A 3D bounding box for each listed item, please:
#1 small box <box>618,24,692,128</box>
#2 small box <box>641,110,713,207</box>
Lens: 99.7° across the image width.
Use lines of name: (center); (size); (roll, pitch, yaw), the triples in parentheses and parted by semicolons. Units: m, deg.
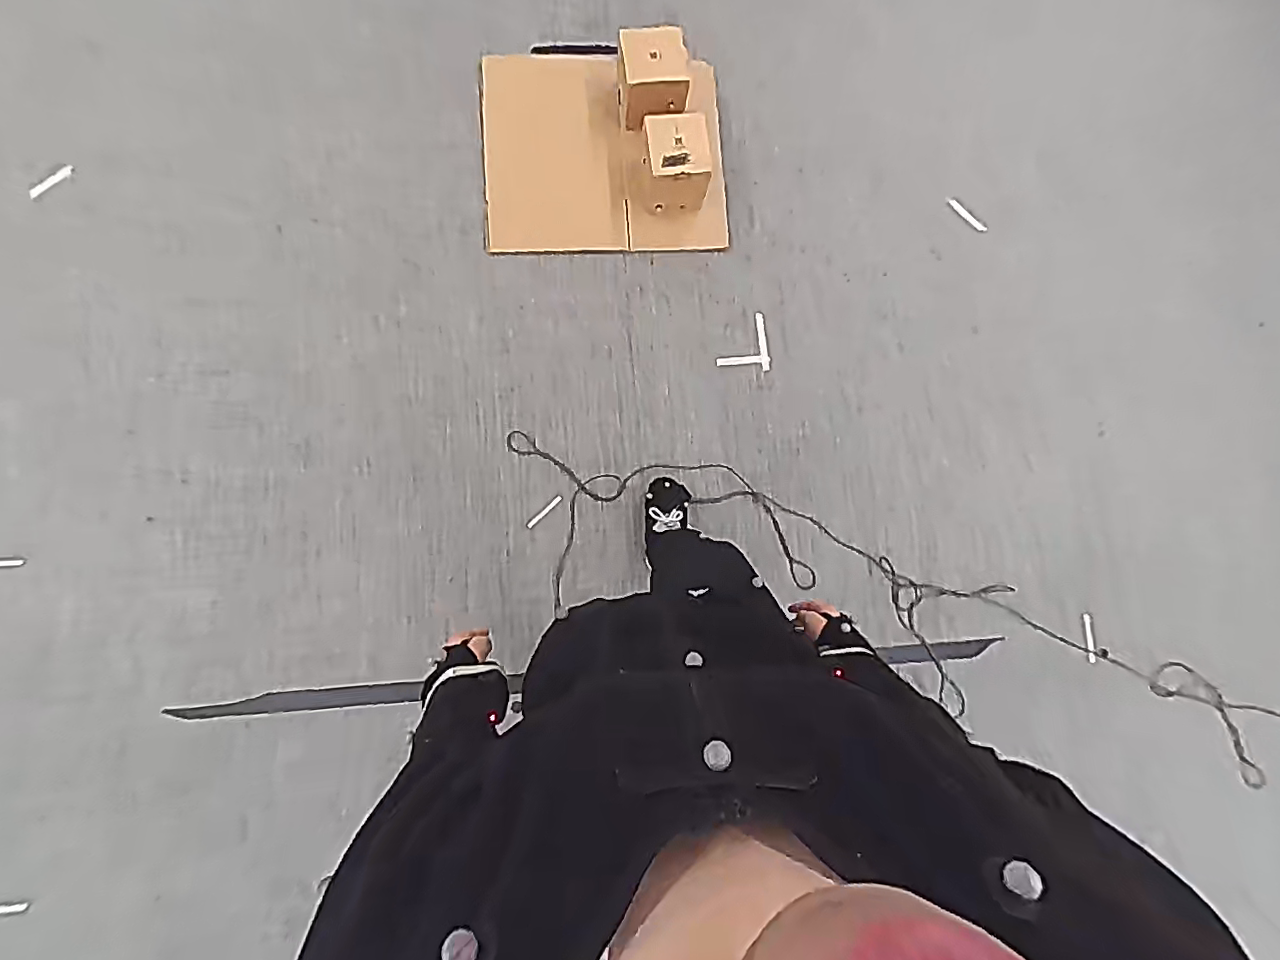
small box: (0.036, -1.135, 1.530); (0.179, 0.176, 0.168); (-9, 84, -5)
small box: (0.097, -0.884, 1.506); (0.168, 0.176, 0.179); (-7, 84, -6)
